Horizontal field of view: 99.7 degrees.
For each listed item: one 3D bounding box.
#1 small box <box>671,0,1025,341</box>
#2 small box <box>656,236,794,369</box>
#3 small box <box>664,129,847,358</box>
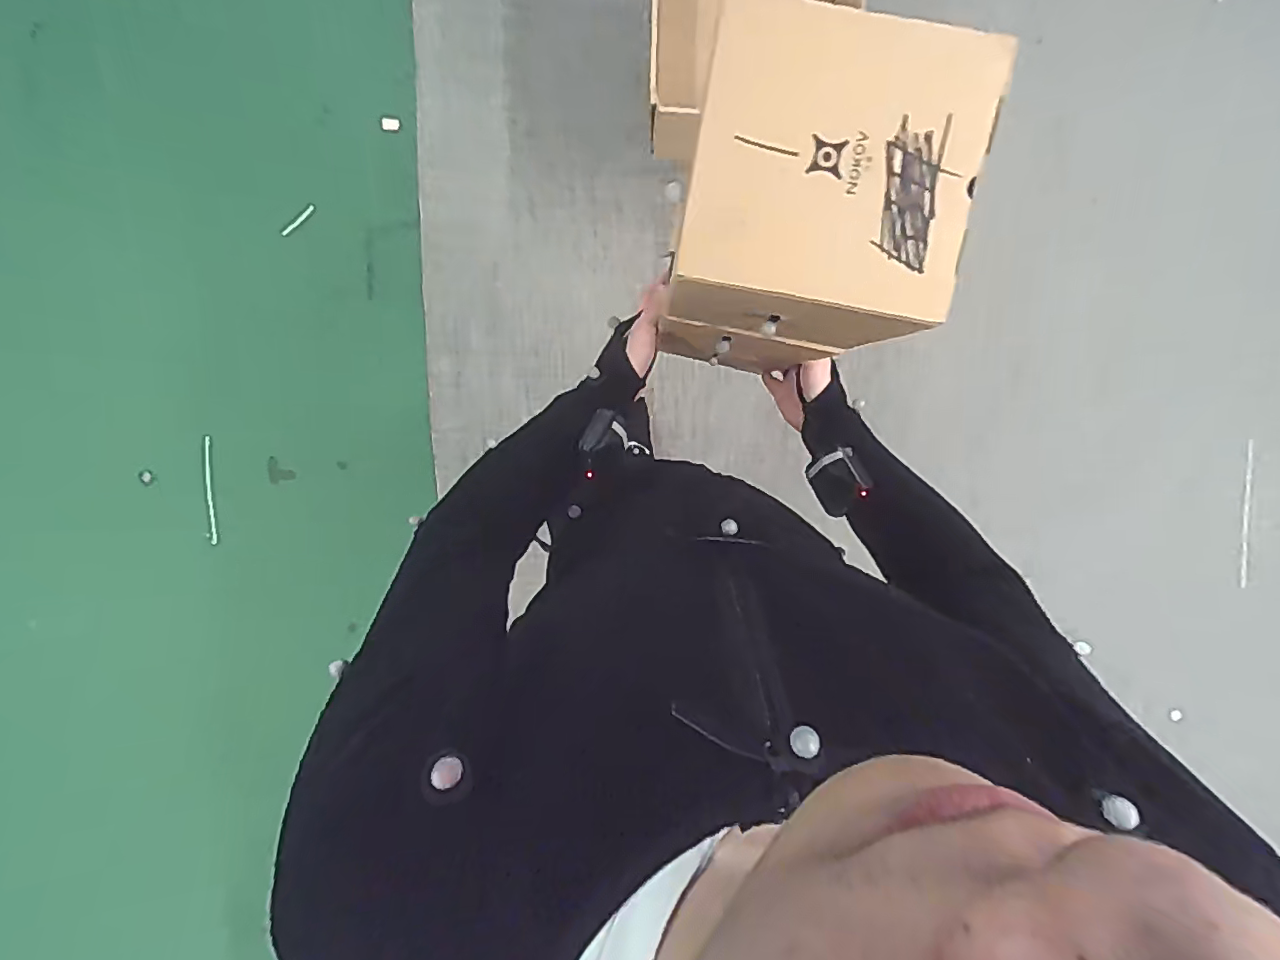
[{"bbox_3d":[0.126,-0.204,0.404,0.179,0.176,0.168,10,99,-1],"label":"small box"},{"bbox_3d":[0.123,-0.251,0.729,0.179,0.176,0.168,14,98,-2],"label":"small box"},{"bbox_3d":[0.124,-0.228,0.566,0.179,0.176,0.168,12,99,-1],"label":"small box"}]
